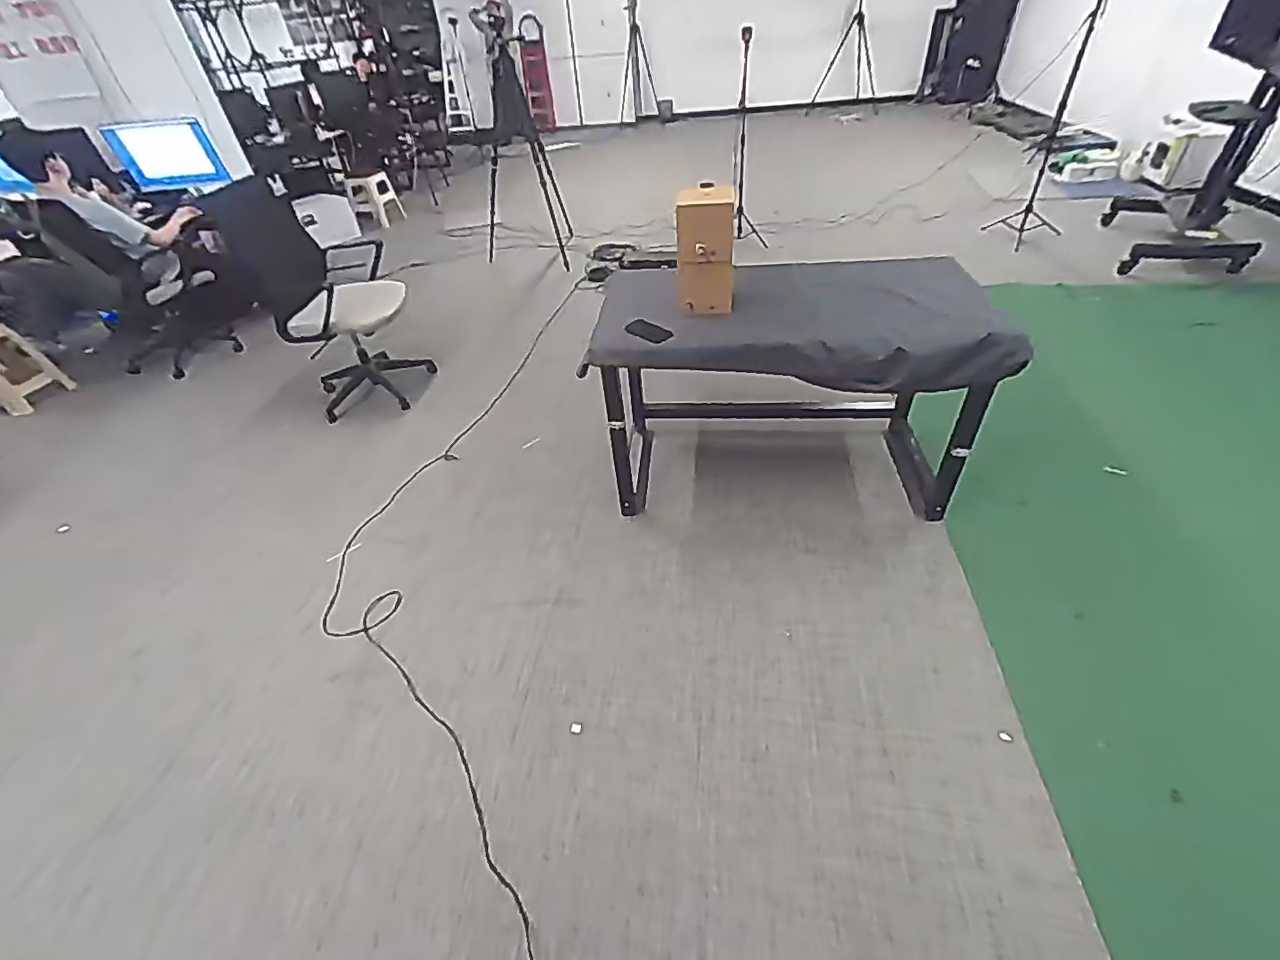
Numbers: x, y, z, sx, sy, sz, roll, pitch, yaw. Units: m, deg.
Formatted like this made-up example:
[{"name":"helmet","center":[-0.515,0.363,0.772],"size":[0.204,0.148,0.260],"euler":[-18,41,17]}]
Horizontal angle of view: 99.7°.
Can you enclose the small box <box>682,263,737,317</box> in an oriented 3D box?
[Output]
[{"name":"small box","center":[0.228,-0.635,1.735],"size":[0.168,0.176,0.179],"euler":[2,41,9]}]

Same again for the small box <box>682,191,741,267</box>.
[{"name":"small box","center":[0.216,-0.754,1.625],"size":[0.168,0.176,0.179],"euler":[1,42,9]}]
